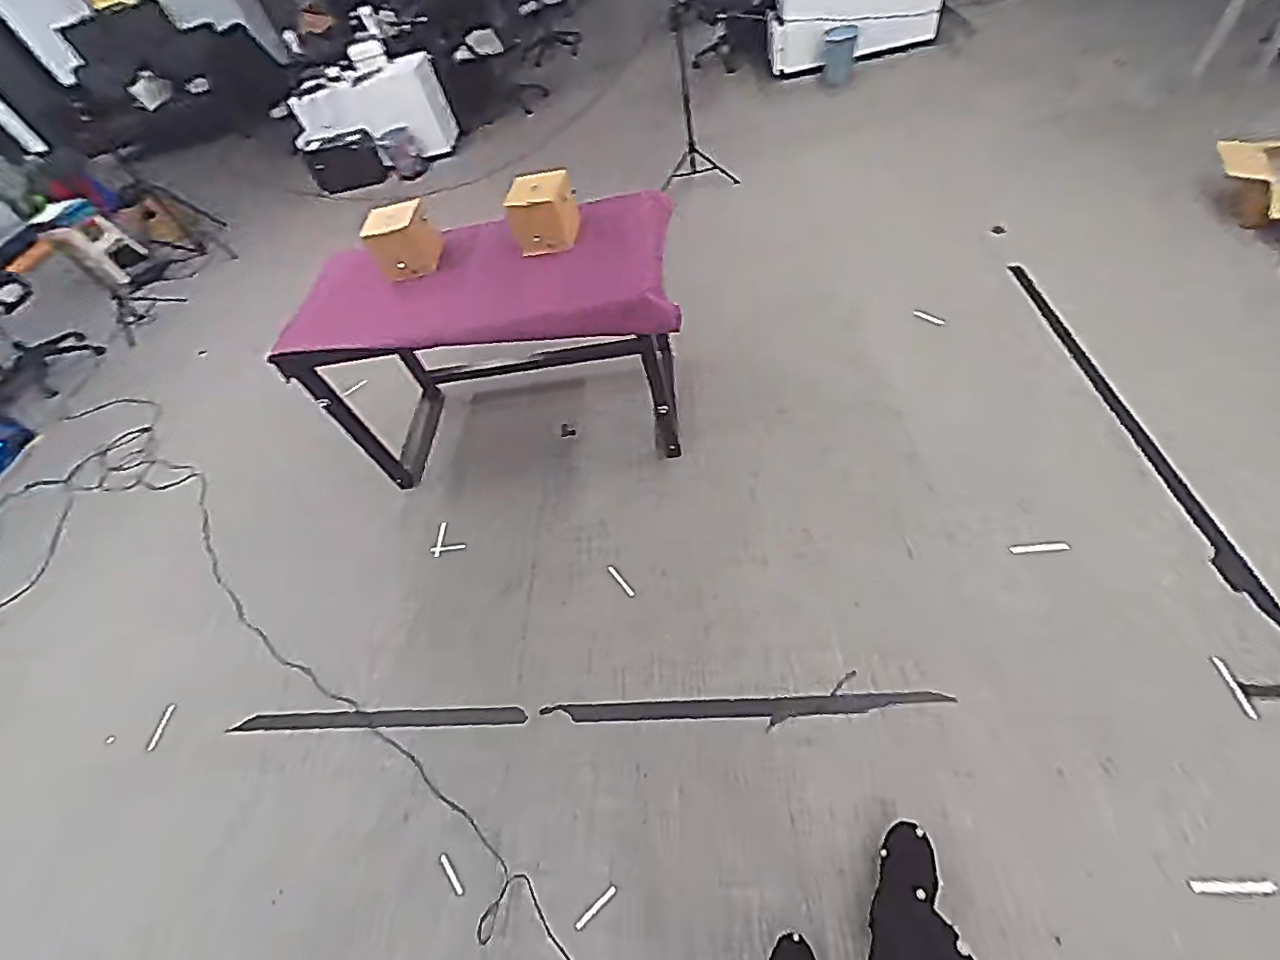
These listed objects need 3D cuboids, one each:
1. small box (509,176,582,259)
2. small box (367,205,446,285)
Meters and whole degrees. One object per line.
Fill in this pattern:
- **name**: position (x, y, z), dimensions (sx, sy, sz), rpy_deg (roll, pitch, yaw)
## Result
- **small box**: position (-0.293, -0.835, 1.724), dimensions (0.168, 0.176, 0.179), rpy_deg (-1, 55, 14)
- **small box**: position (-0.772, -0.782, 1.807), dimensions (0.168, 0.176, 0.179), rpy_deg (-9, 53, 8)
